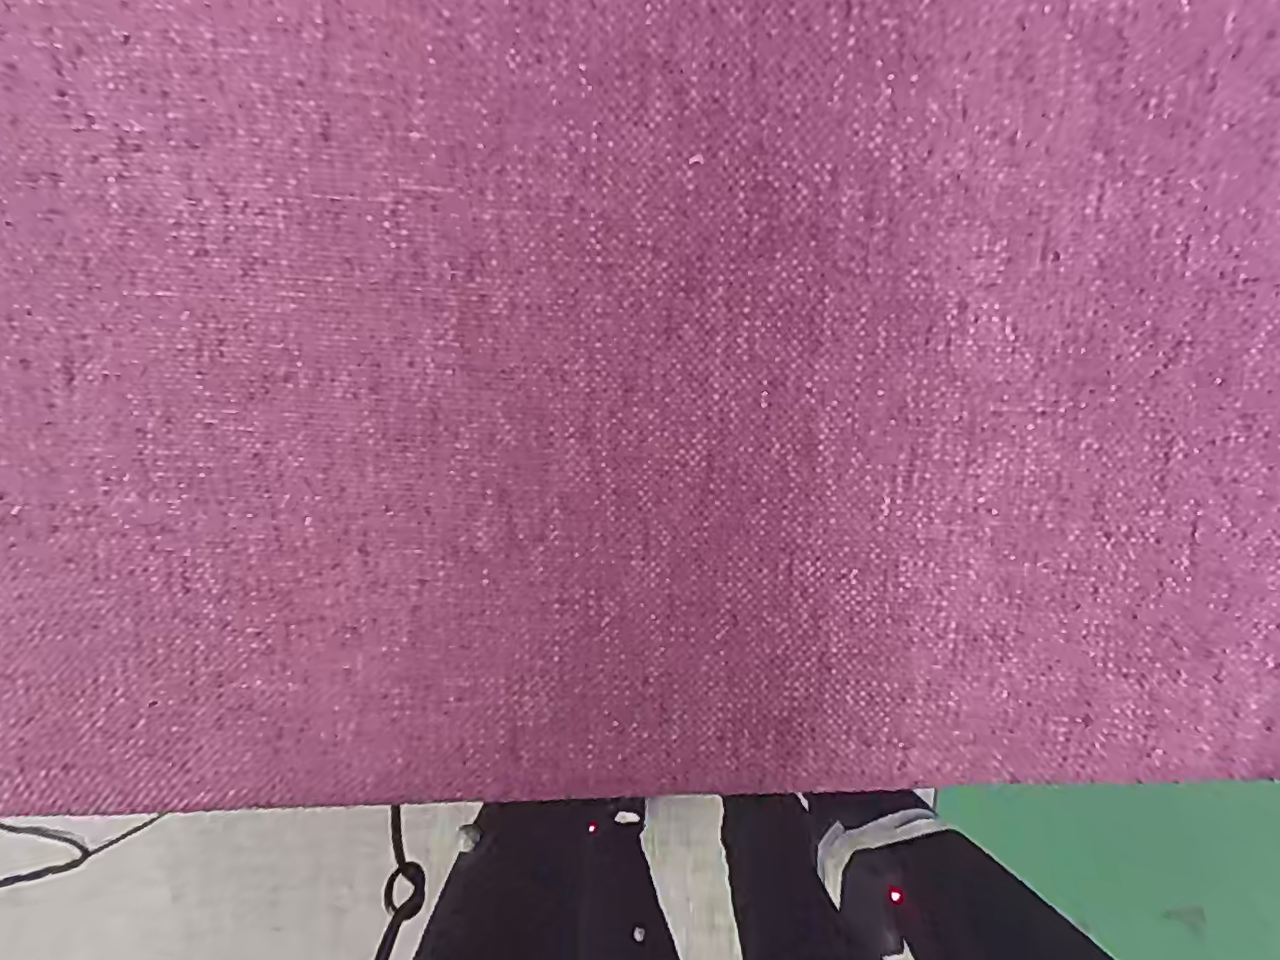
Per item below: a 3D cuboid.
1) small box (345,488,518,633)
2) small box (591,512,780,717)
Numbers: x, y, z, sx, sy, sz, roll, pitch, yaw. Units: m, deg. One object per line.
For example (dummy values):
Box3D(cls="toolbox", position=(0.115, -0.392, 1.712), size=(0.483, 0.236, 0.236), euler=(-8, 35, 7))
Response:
Box3D(cls="small box", position=(-0.286, 0.107, 0.777), size=(0.179, 0.176, 0.168), euler=(-2, 100, 2))
Box3D(cls="small box", position=(0.044, 0.137, 0.606), size=(0.179, 0.176, 0.168), euler=(3, 102, 0))
